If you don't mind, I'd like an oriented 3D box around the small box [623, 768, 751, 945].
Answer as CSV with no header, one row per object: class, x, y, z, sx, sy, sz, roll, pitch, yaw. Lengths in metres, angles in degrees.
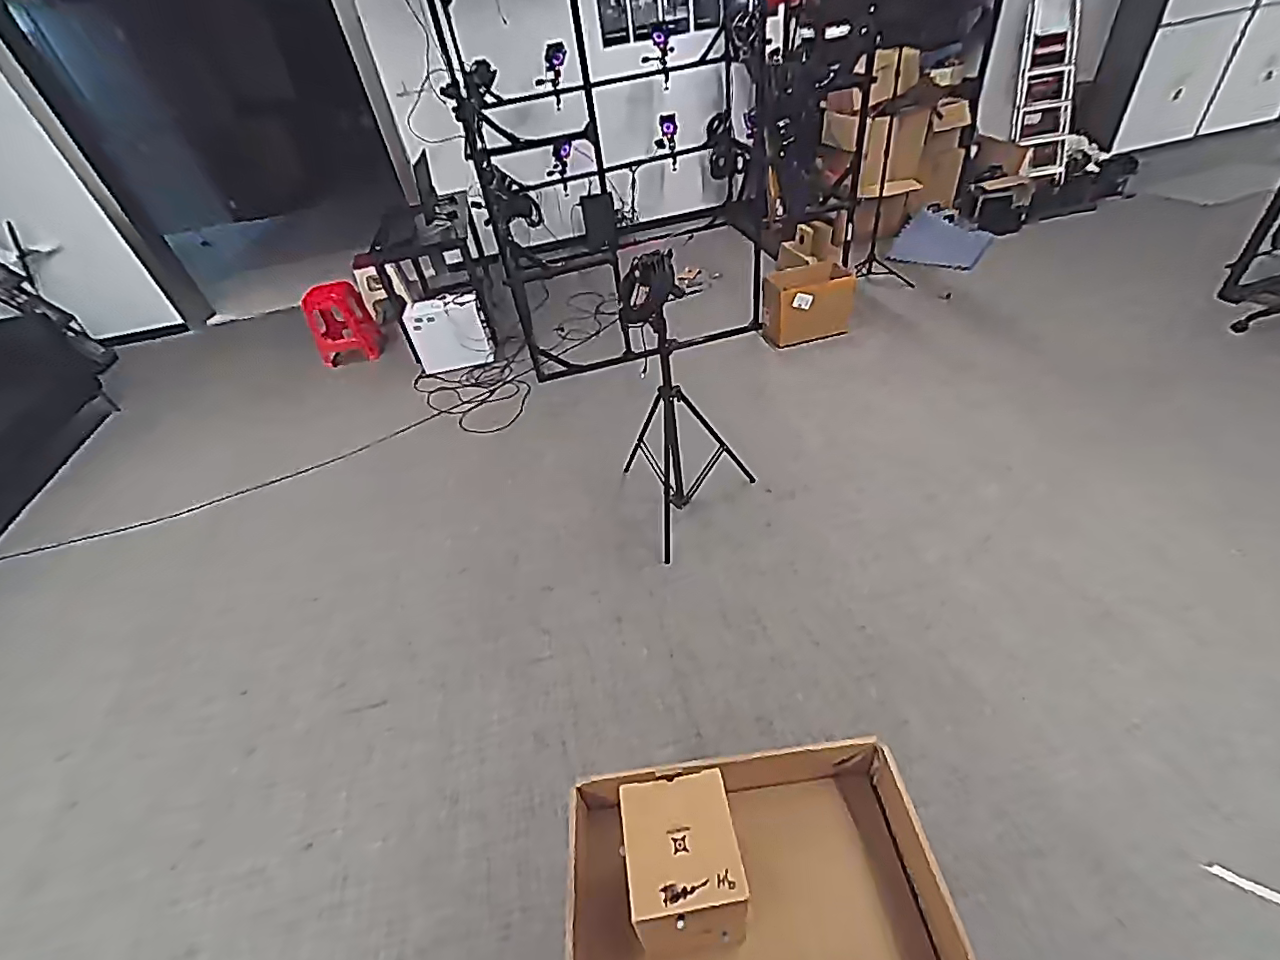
small box,0.068,0.587,0.845,0.168,0.176,0.179,-9,40,-2
